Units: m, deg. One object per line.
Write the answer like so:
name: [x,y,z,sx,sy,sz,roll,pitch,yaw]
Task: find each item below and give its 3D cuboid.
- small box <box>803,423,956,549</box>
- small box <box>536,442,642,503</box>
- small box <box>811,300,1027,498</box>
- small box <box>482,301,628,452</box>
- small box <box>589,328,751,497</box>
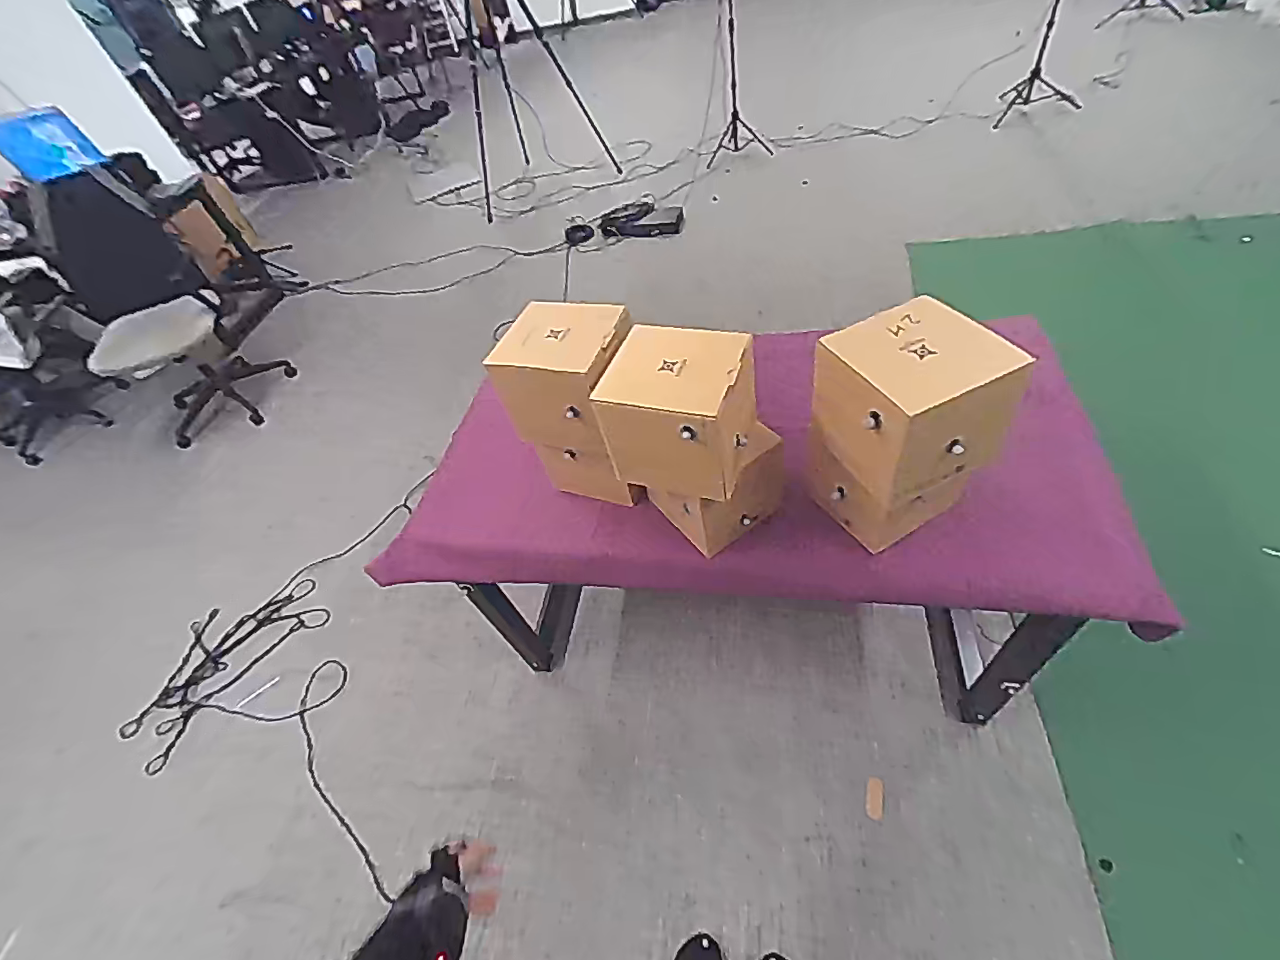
small box: [0.378,-0.022,0.853,0.179,0.176,0.168,-29,49,-11]
small box: [-0.078,-0.078,1.005,0.179,0.176,0.168,12,54,21]
small box: [0.342,-0.098,0.705,0.168,0.176,0.179,-23,47,-7]
small box: [-0.113,-0.165,0.870,0.179,0.176,0.168,10,53,20]
small box: [0.054,-0.095,0.773,0.179,0.176,0.168,11,54,21]
